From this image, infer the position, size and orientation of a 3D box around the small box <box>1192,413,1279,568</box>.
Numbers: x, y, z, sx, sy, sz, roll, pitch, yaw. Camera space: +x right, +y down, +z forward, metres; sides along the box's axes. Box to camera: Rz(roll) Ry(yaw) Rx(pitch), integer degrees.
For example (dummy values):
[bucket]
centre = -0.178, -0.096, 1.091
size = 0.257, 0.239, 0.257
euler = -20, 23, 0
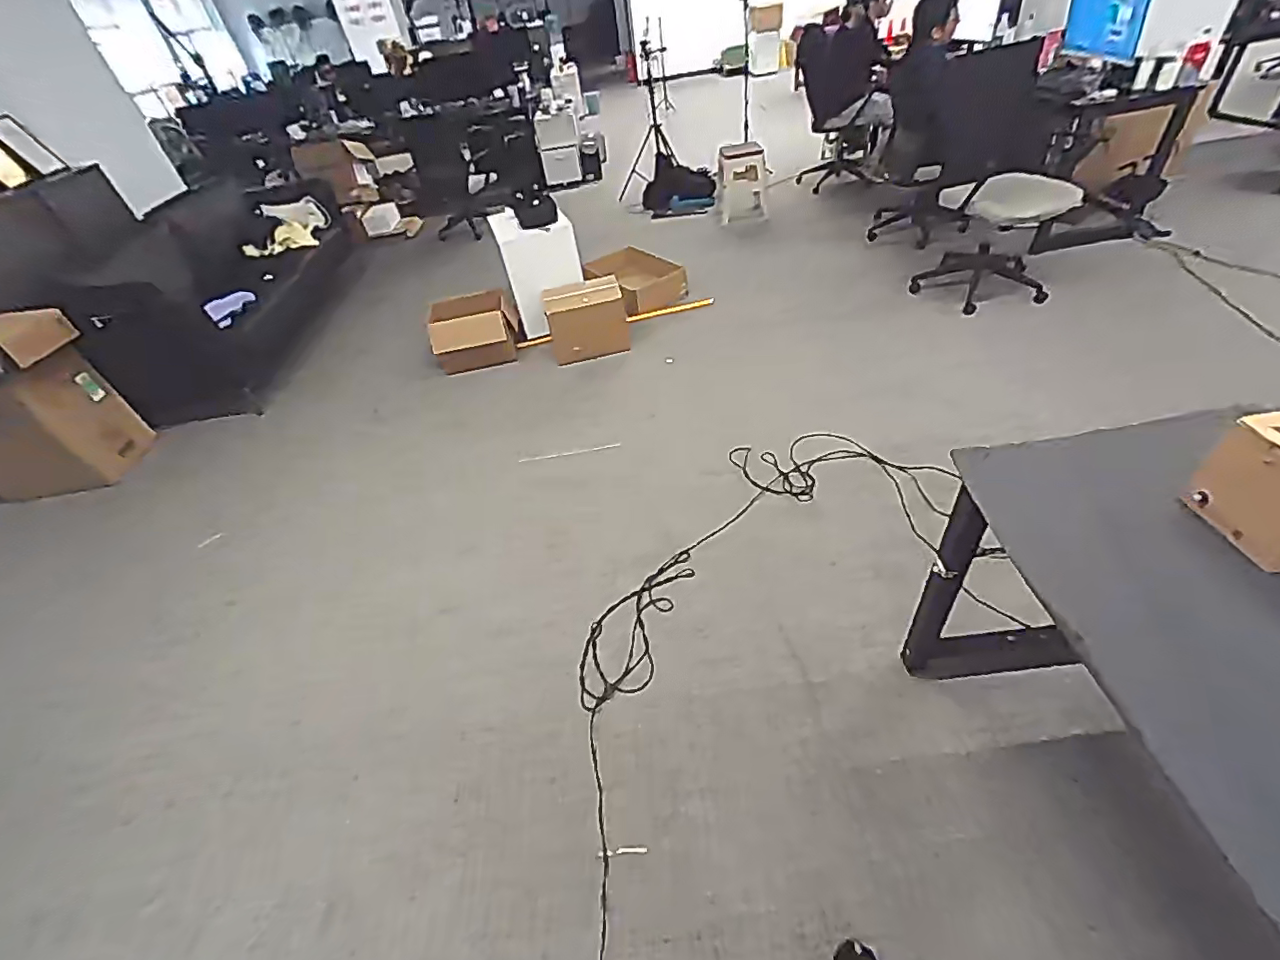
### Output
[small box]
centre = 0.983, 0.011, 0.794
size = 0.179, 0.176, 0.168
euler = -8, 43, 2
